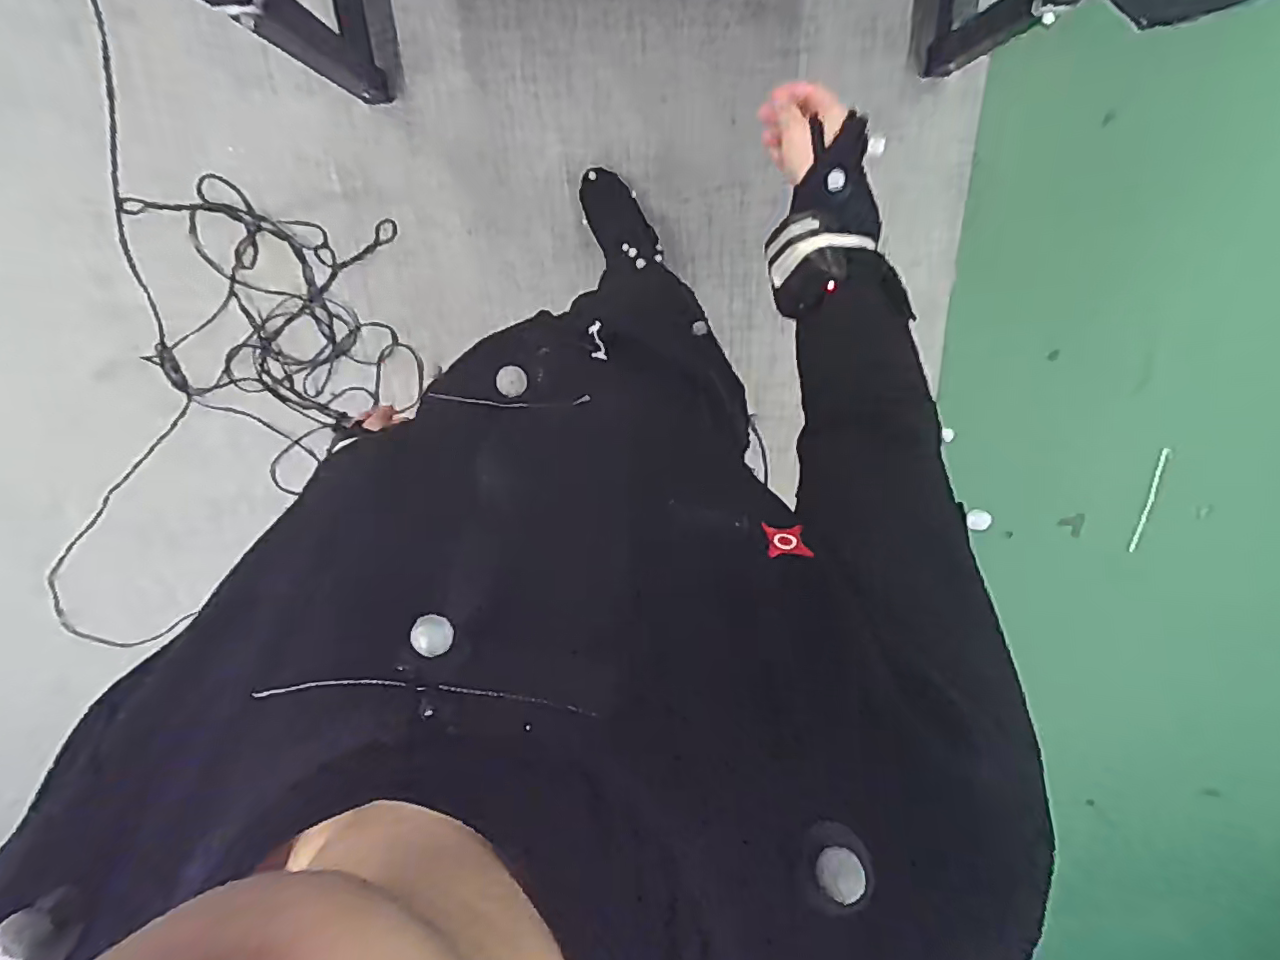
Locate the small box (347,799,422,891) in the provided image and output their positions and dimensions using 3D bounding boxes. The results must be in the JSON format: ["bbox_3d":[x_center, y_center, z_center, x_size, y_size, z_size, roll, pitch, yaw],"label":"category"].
[{"bbox_3d":[-0.797,1.147,1.703,0.168,0.176,0.179,6,111,-5],"label":"small box"}]
